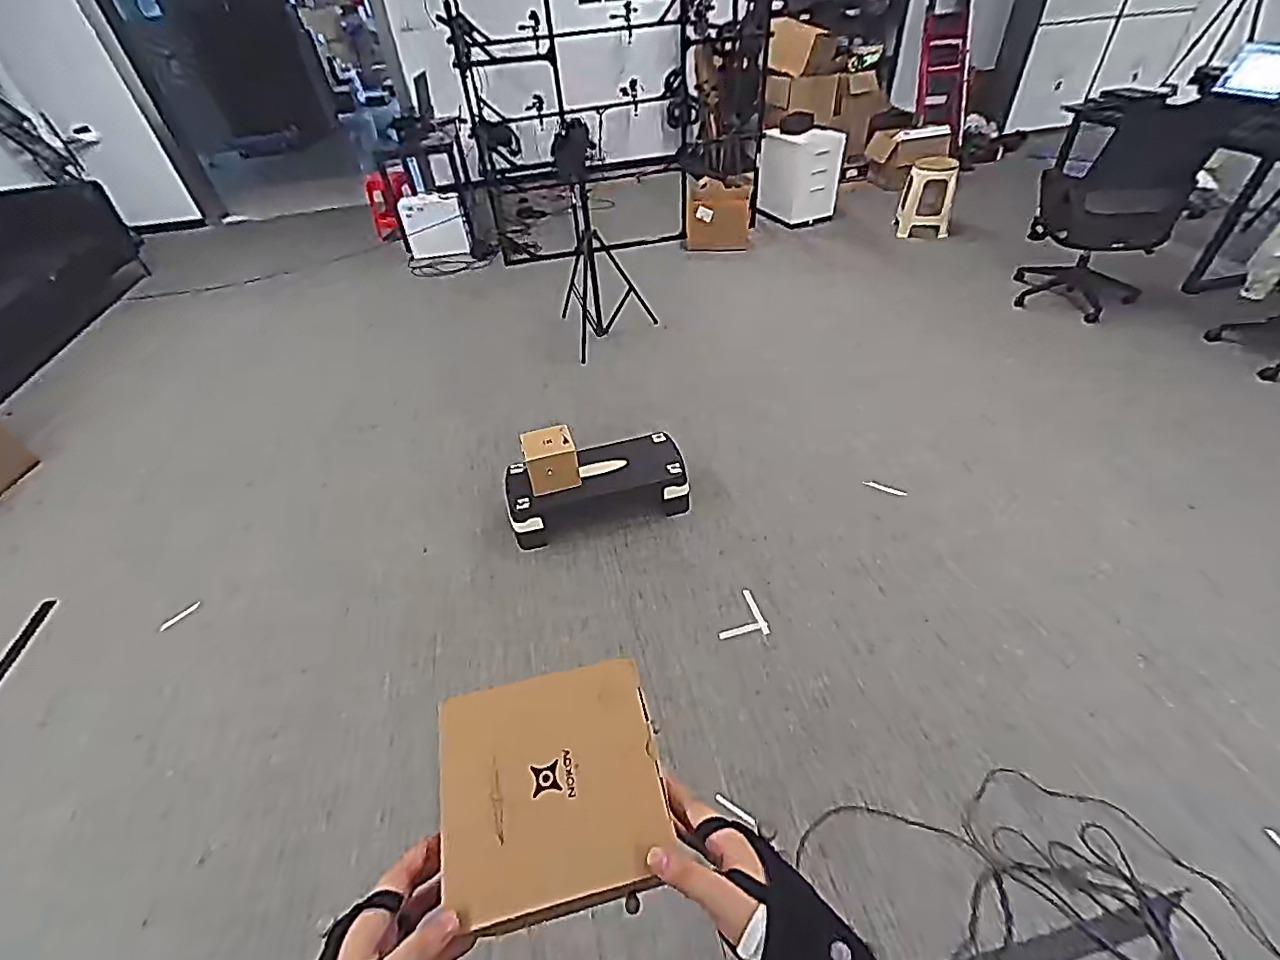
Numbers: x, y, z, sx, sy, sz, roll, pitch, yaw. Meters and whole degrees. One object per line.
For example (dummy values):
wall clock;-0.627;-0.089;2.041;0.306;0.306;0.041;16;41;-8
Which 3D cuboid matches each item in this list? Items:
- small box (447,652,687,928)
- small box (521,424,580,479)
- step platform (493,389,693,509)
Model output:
small box;-0.066;0.287;0.503;0.179;0.176;0.168;-13;50;-8
small box;-0.321;-0.072;1.955;0.179;0.176;0.168;-15;44;-10
step platform;-0.161;-0.113;1.929;0.684;0.204;0.286;-13;42;-9
